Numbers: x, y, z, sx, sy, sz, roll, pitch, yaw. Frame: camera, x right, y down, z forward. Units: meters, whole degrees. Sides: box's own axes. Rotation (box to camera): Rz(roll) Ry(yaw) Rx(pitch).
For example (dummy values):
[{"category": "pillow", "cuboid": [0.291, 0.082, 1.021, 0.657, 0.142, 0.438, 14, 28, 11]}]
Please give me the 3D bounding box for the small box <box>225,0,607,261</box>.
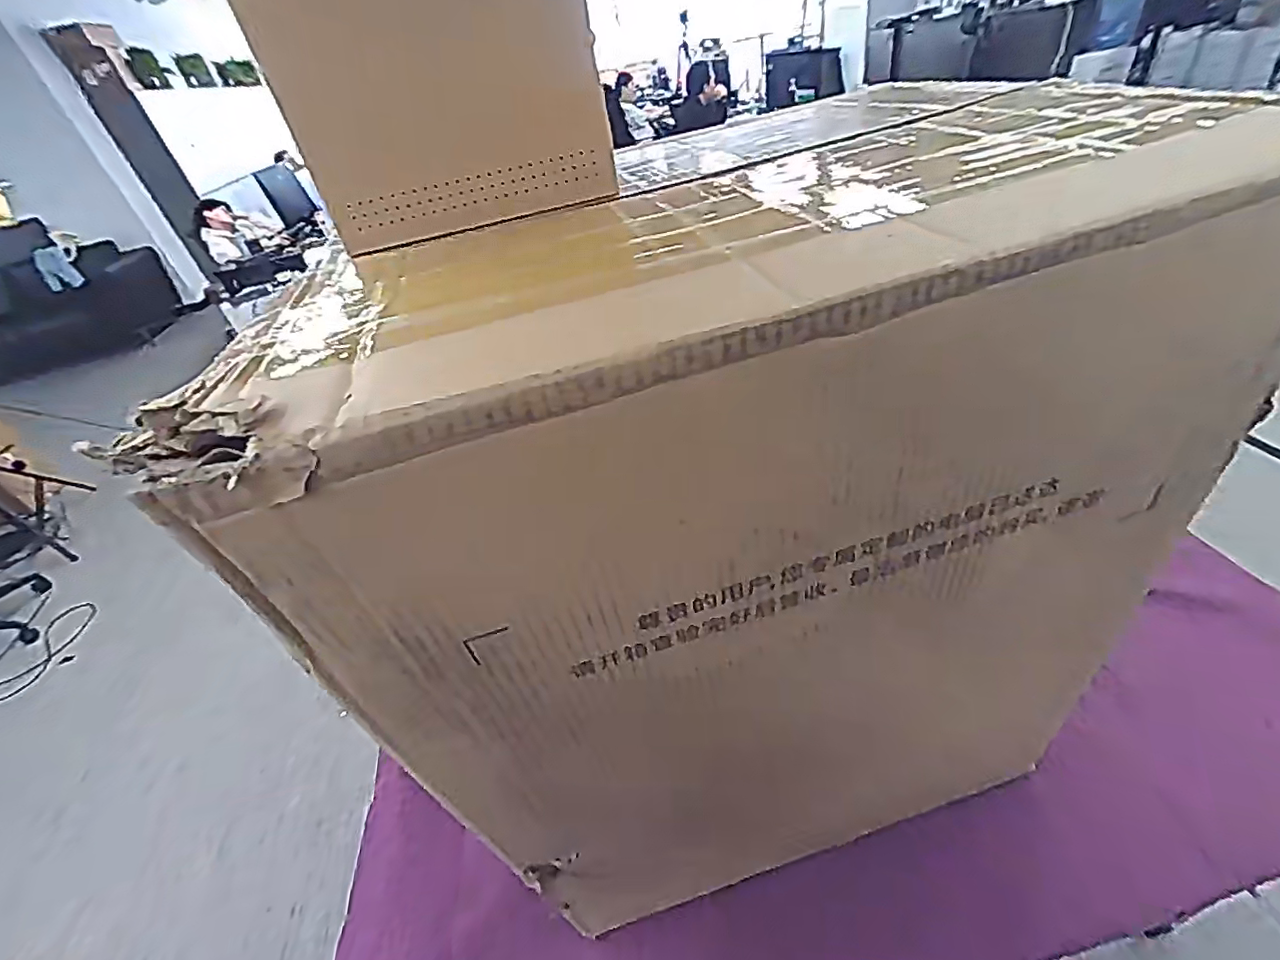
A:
[{"category": "small box", "cuboid": [-0.126, -0.262, 0.349, 0.179, 0.176, 0.168, -16, 38, -6]}]
